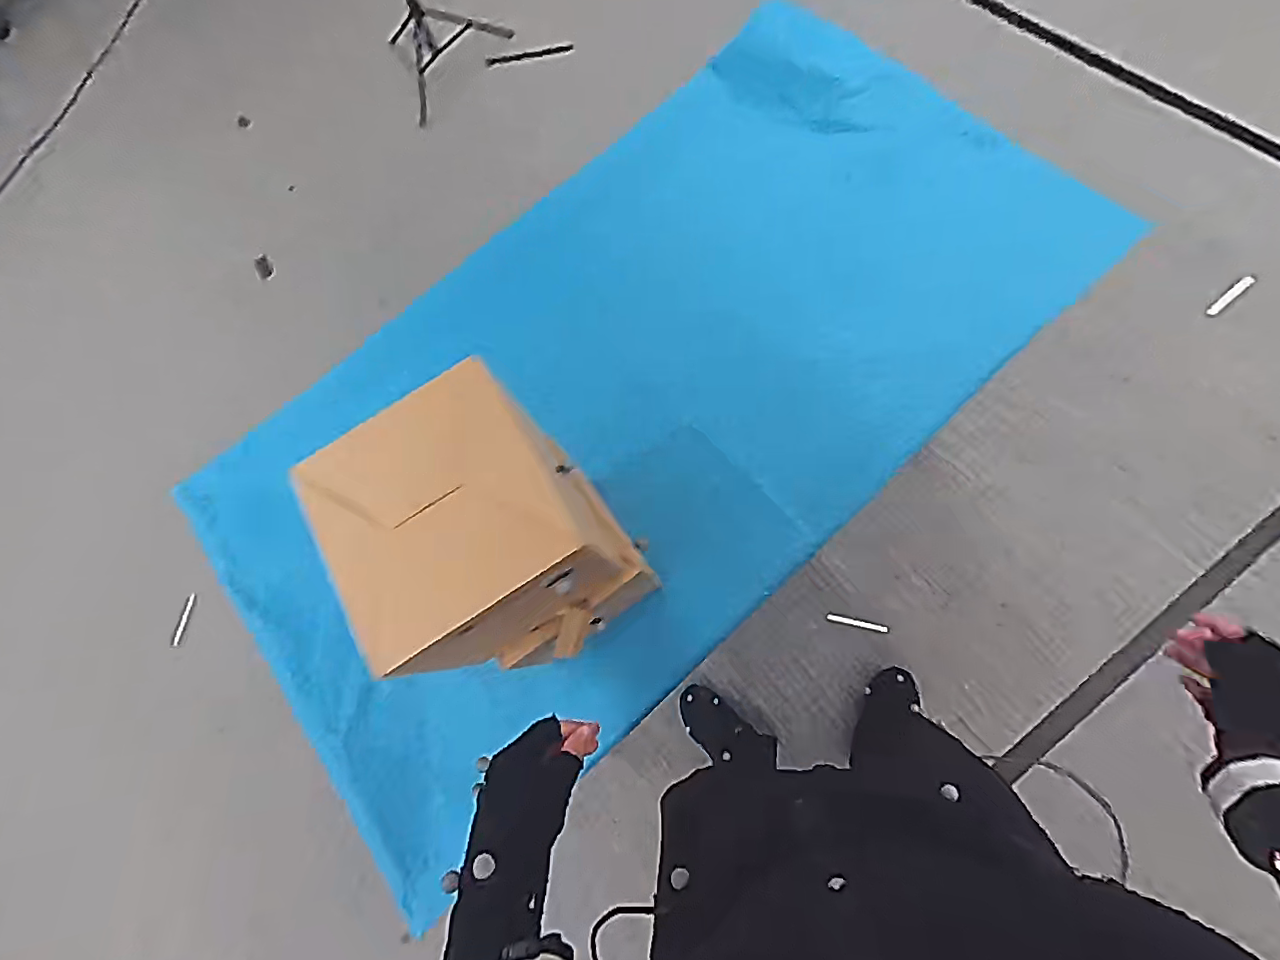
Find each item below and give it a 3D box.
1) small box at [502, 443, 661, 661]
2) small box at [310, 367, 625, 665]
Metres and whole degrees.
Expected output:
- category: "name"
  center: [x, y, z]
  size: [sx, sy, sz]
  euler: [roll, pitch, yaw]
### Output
- category: "small box"
  center: [-0.099, 0.088, 0.617]
  size: [0.168, 0.176, 0.179]
  euler: [-37, 72, -3]
- category: "small box"
  center: [-0.137, 0.040, 0.464]
  size: [0.168, 0.176, 0.179]
  euler: [-33, 73, -2]
